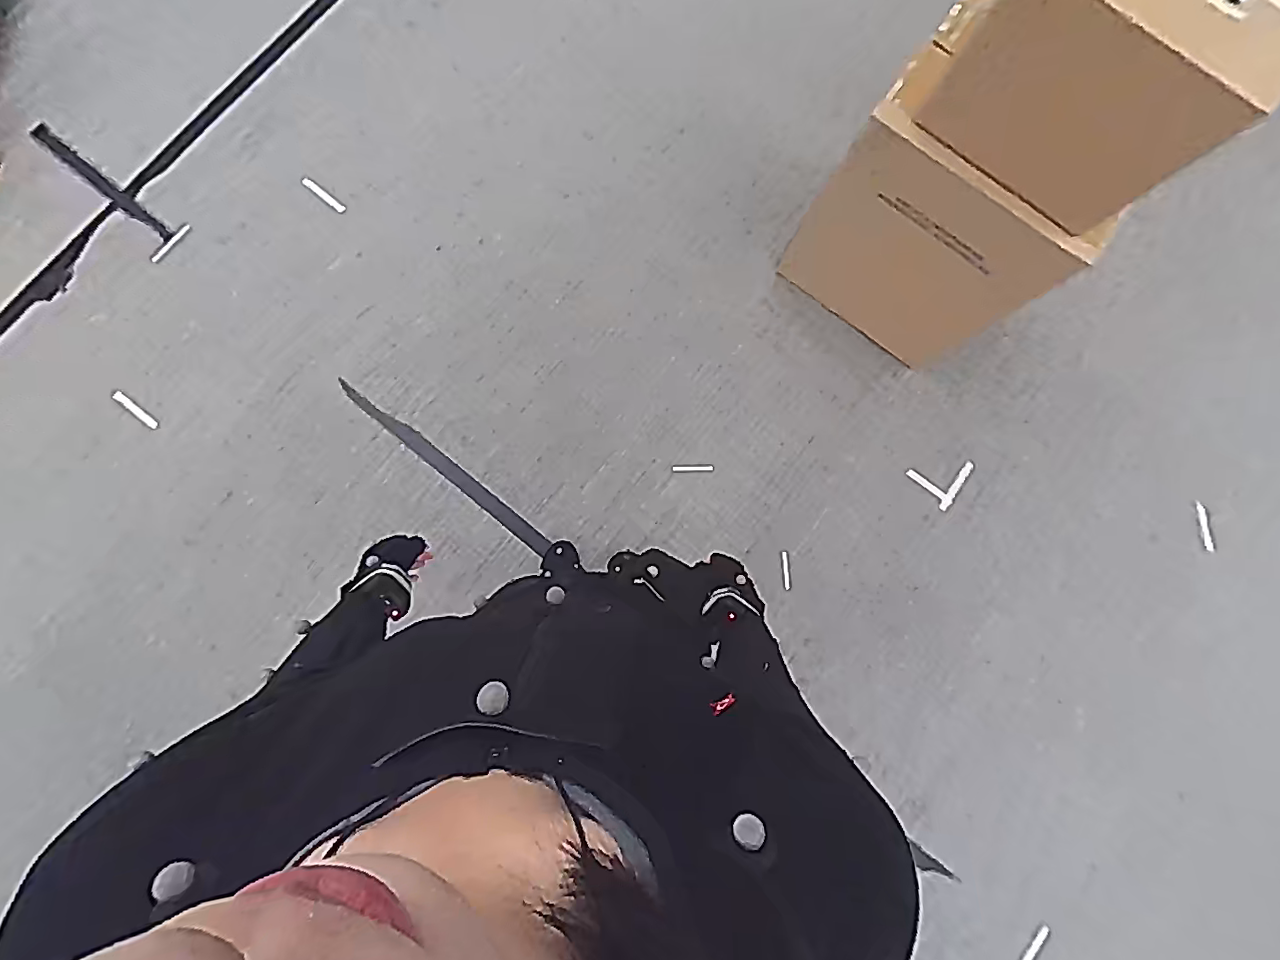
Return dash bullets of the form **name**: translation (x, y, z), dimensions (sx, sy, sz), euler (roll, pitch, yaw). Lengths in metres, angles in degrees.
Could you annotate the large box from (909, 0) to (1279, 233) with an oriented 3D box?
- **large box**: translation (0.781, -0.732, 0.940), dimensions (0.408, 0.320, 0.320), euler (36, 83, 0)
